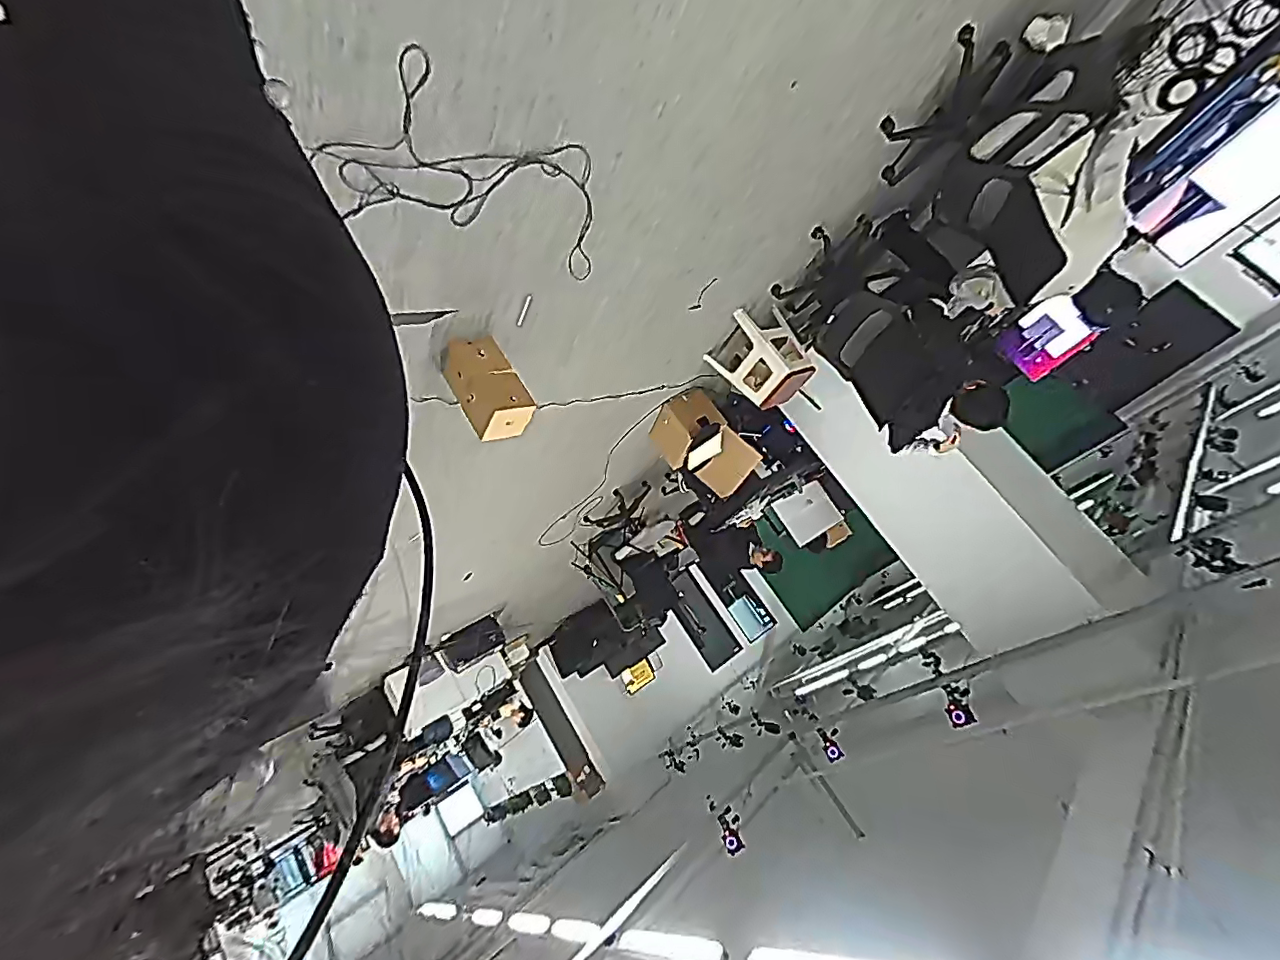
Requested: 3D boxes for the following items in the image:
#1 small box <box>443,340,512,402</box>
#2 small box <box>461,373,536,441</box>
[{"bbox_3d":[-0.601,-0.397,1.982,0.168,0.176,0.179,-20,157,-40],"label":"small box"},{"bbox_3d":[-0.511,-0.267,1.940,0.179,0.176,0.168,-17,155,-44],"label":"small box"}]
